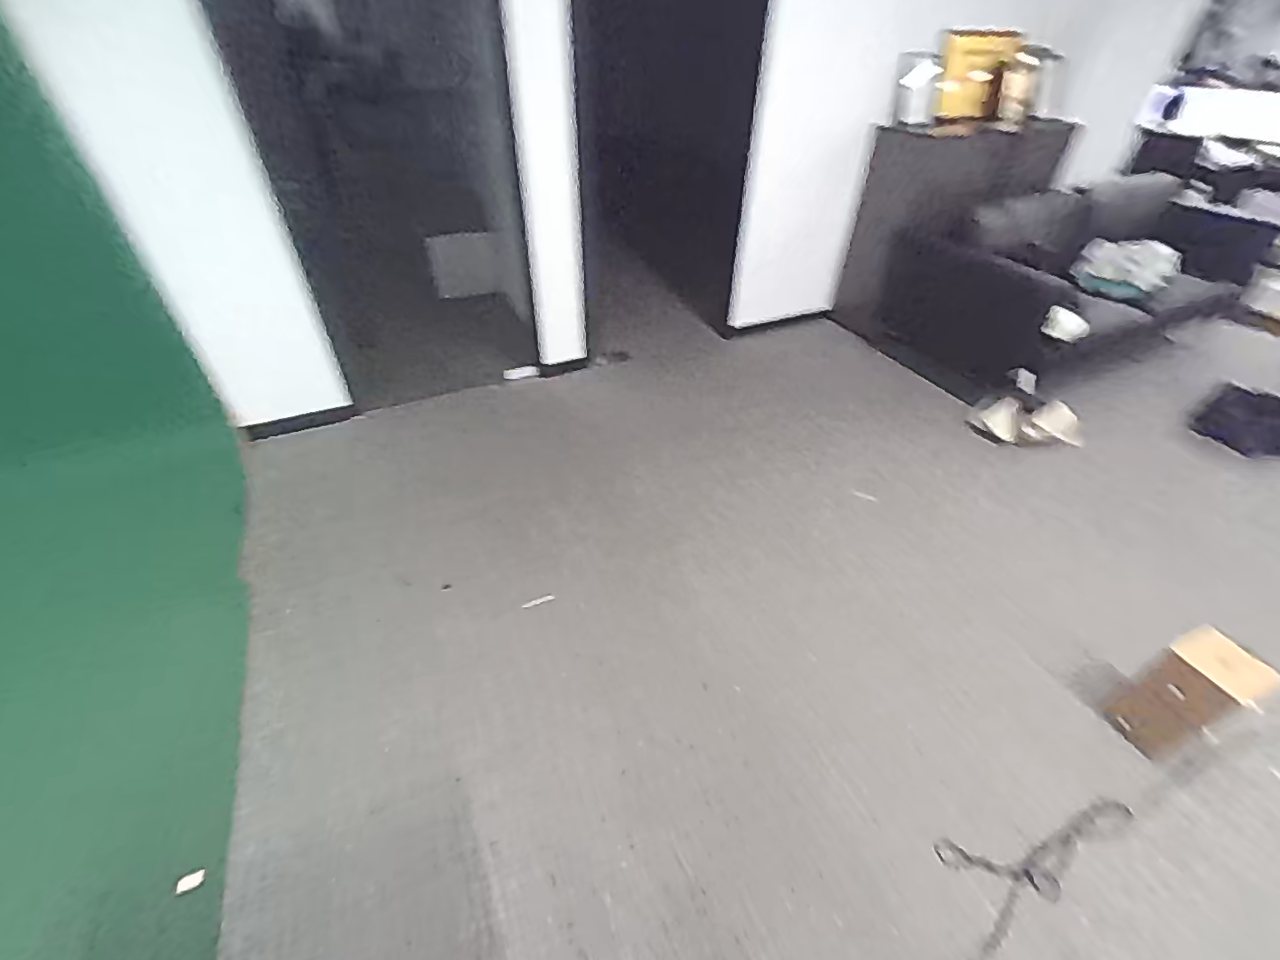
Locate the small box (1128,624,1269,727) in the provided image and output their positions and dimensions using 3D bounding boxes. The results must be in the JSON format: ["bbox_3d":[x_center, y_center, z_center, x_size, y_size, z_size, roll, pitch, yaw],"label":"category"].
[{"bbox_3d":[1.435,0.511,1.409,0.179,0.176,0.168,-13,42,-17],"label":"small box"}]

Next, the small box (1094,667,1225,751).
[{"bbox_3d":[1.436,0.621,1.508,0.179,0.176,0.168,-12,42,-16],"label":"small box"}]
